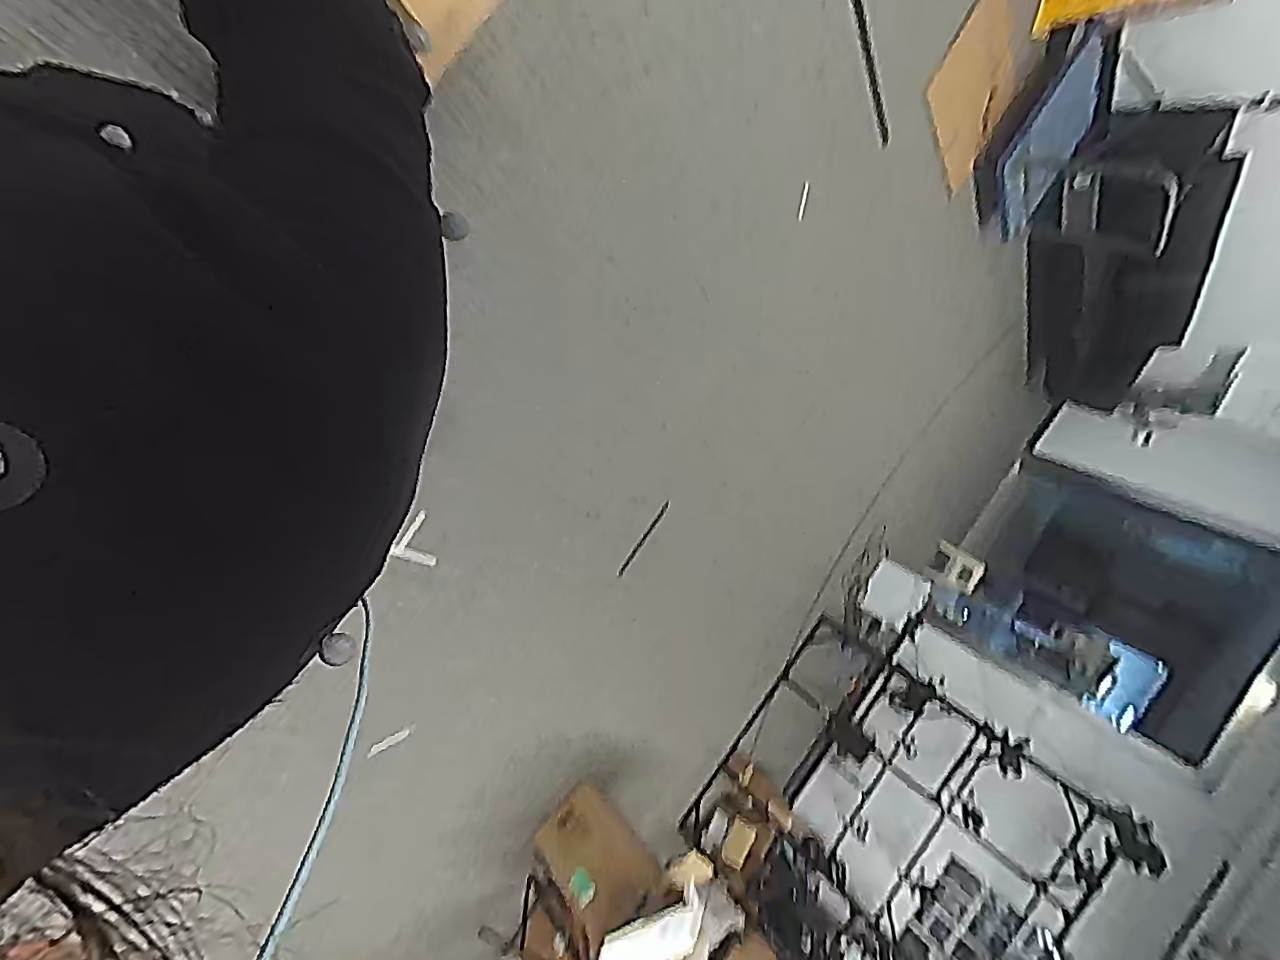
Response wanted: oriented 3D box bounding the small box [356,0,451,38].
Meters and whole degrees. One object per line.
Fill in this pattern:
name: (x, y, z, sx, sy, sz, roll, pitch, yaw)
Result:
small box: (-0.355, -0.803, 0.797, 0.179, 0.176, 0.168, -52, 137, -5)
